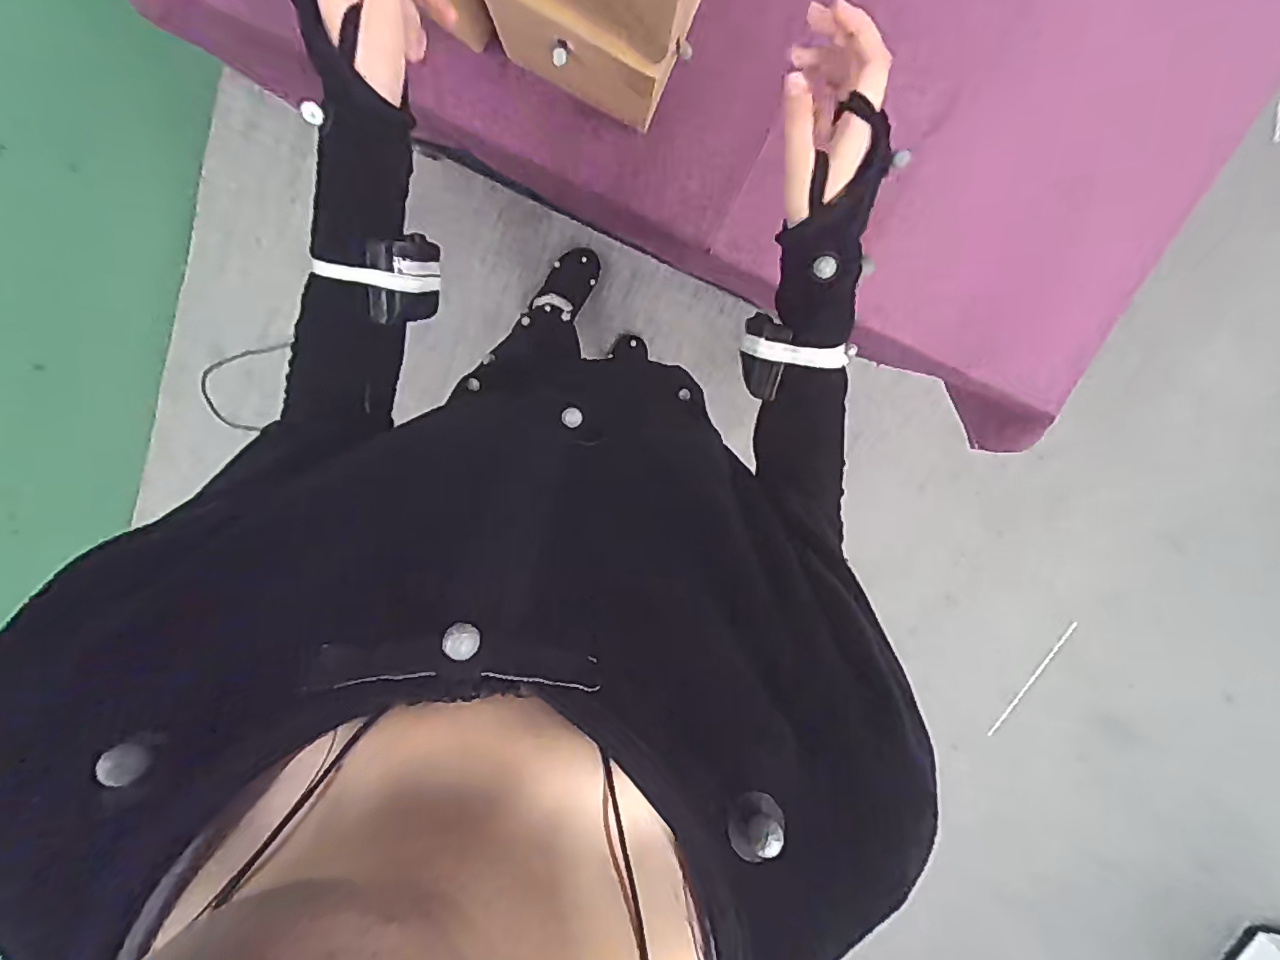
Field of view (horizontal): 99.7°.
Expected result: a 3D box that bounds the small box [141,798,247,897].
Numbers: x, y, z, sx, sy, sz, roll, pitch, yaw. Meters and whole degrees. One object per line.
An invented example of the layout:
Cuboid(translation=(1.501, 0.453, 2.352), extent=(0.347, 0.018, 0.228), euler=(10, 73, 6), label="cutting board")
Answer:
Cuboid(translation=(-1.335, 1.101, 1.630), extent=(0.179, 0.176, 0.168), euler=(22, 103, -10), label="small box")
